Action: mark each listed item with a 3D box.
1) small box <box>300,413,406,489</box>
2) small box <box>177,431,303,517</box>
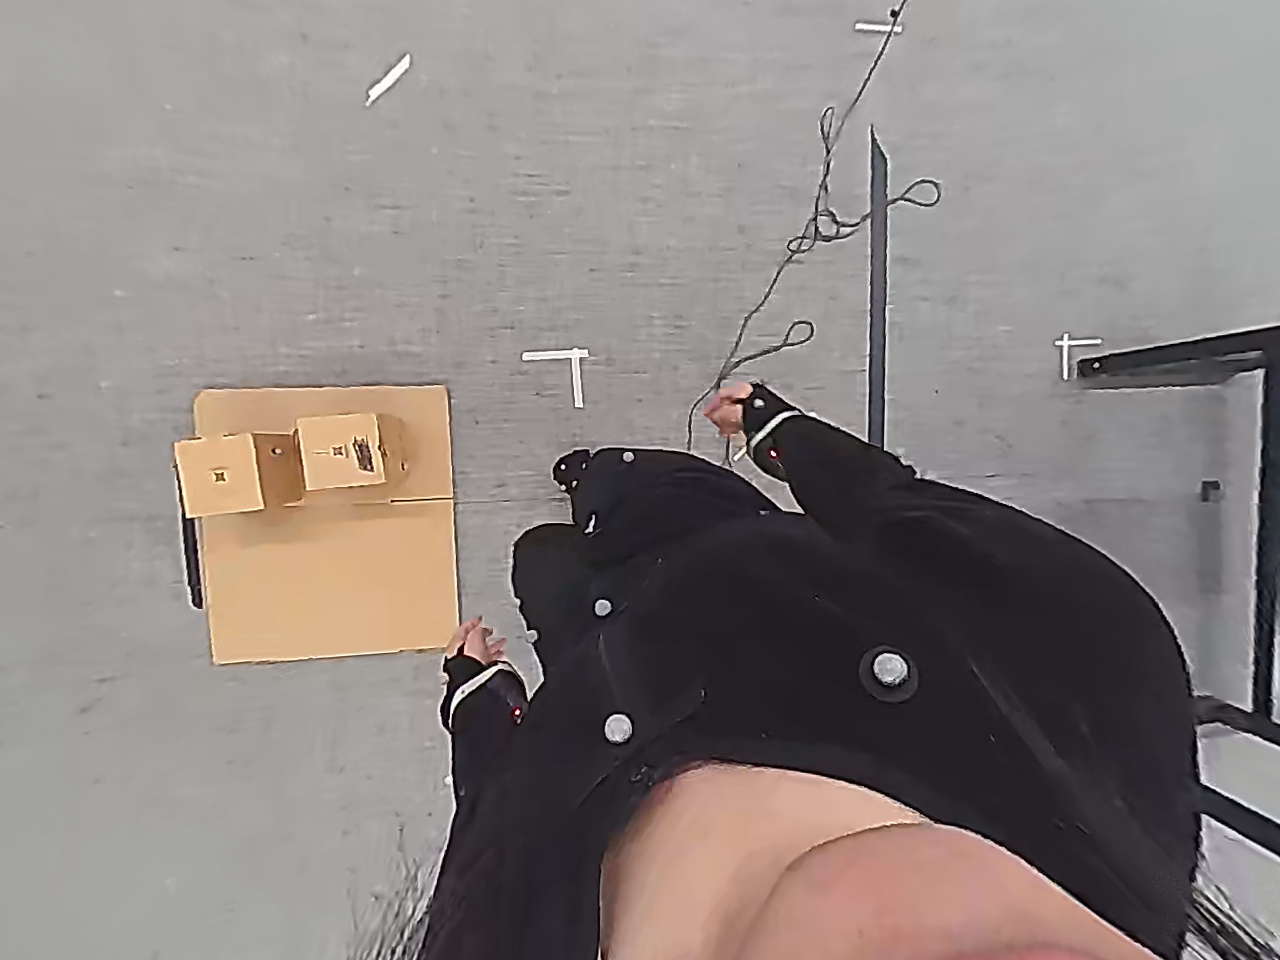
[{"bbox_3d":[-0.680,-0.072,1.303,0.179,0.176,0.168,-6,94,-6],"label":"small box"},{"bbox_3d":[-0.933,-0.018,1.278,0.168,0.176,0.179,-8,95,-5],"label":"small box"}]
